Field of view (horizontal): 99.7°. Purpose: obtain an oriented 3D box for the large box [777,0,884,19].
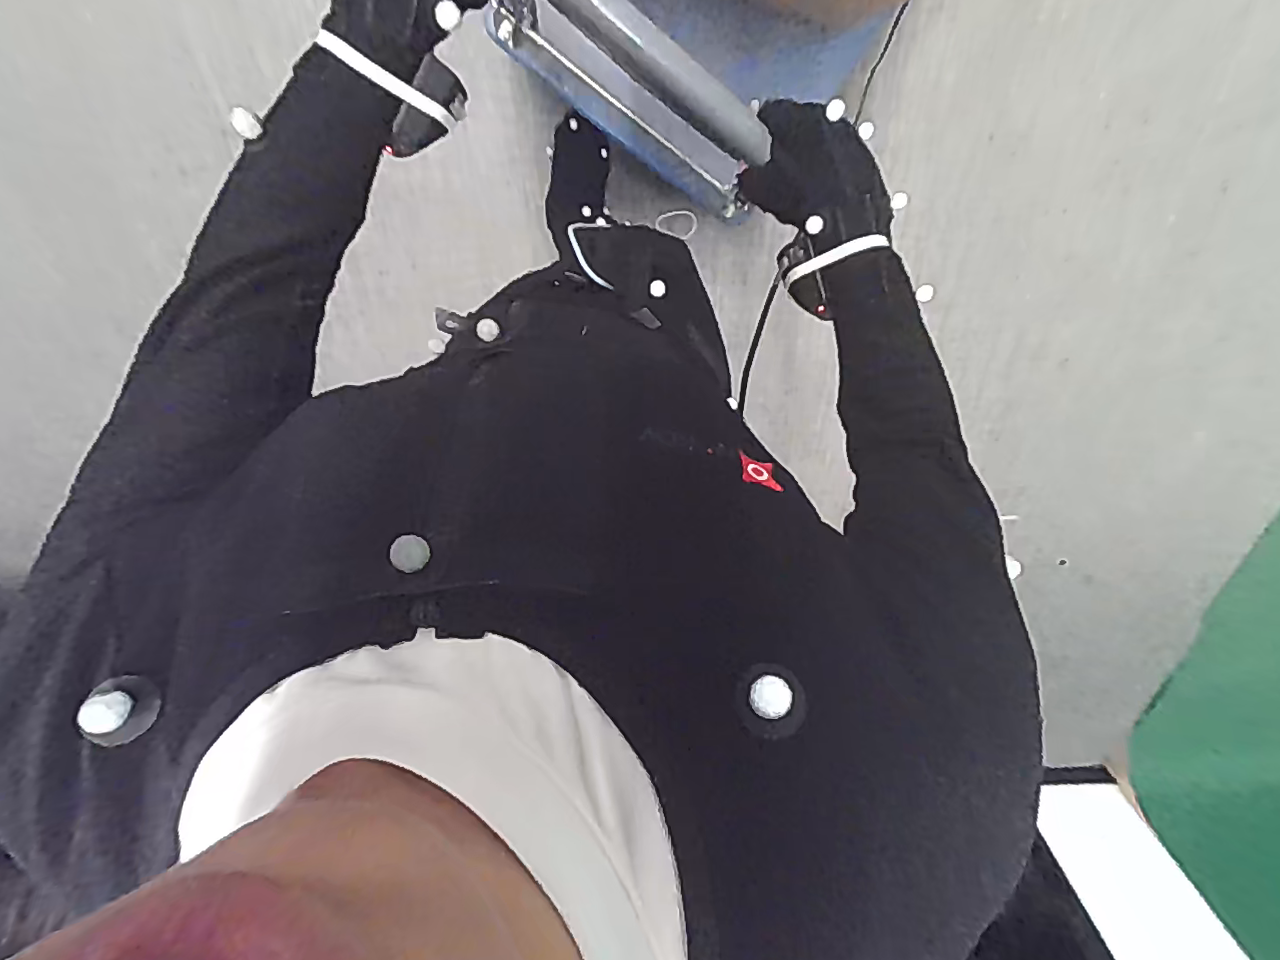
[{"bbox_3d":[0.198,-0.868,0.706,0.408,0.320,0.320,12,121,-7],"label":"large box"}]
